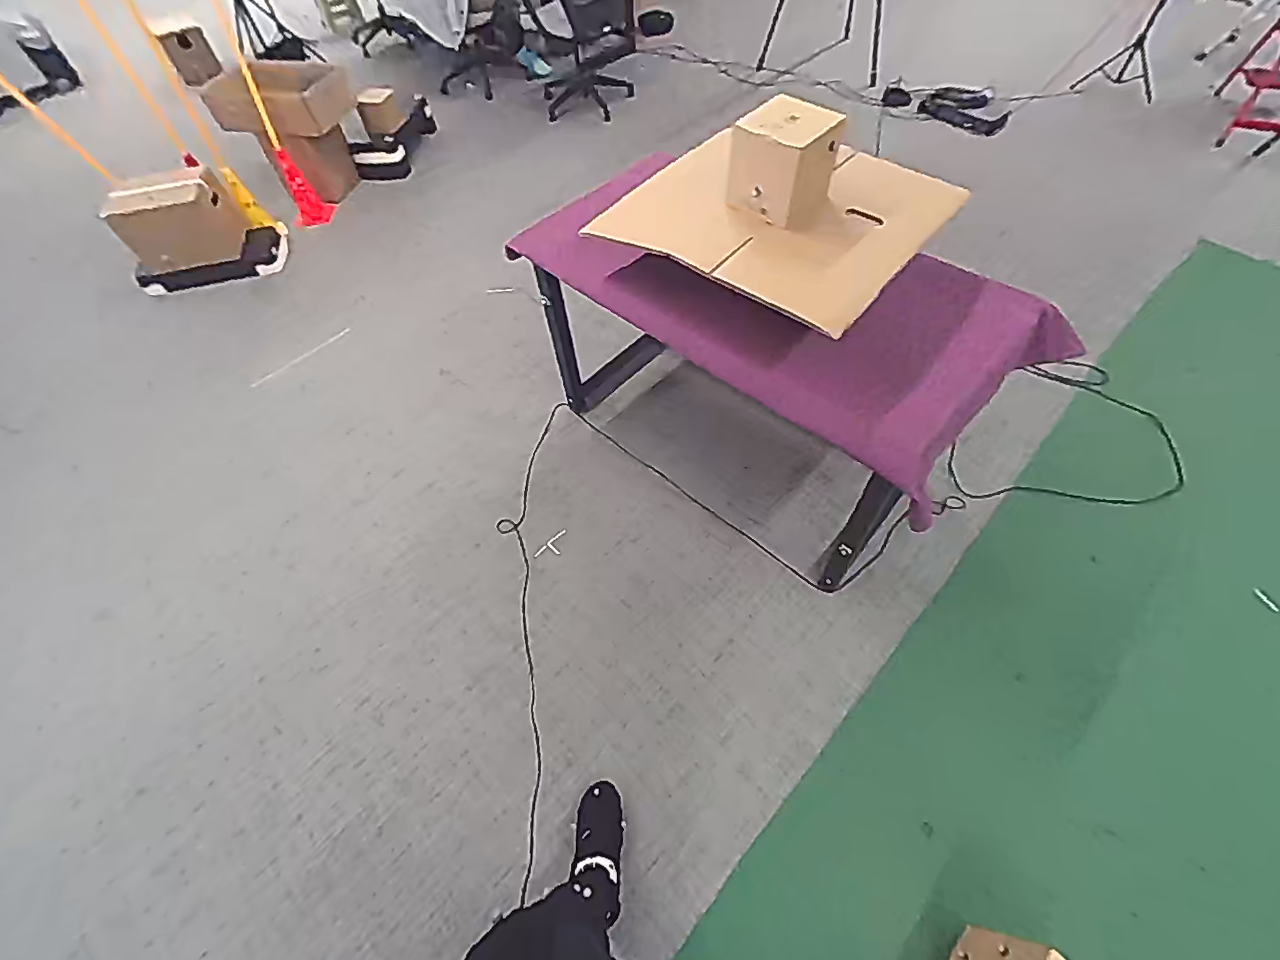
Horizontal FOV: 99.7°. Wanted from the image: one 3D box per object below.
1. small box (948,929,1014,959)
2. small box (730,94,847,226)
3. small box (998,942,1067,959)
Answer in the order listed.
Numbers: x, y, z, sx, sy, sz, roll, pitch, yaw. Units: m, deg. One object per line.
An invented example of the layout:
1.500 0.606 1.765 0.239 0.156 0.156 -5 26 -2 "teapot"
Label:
0.730 1.042 1.071 0.179 0.176 0.168 38 66 26 "small box"
0.310 -0.687 1.167 0.168 0.176 0.179 37 66 23 "small box"
0.722 0.950 0.935 0.179 0.176 0.168 39 67 25 "small box"
